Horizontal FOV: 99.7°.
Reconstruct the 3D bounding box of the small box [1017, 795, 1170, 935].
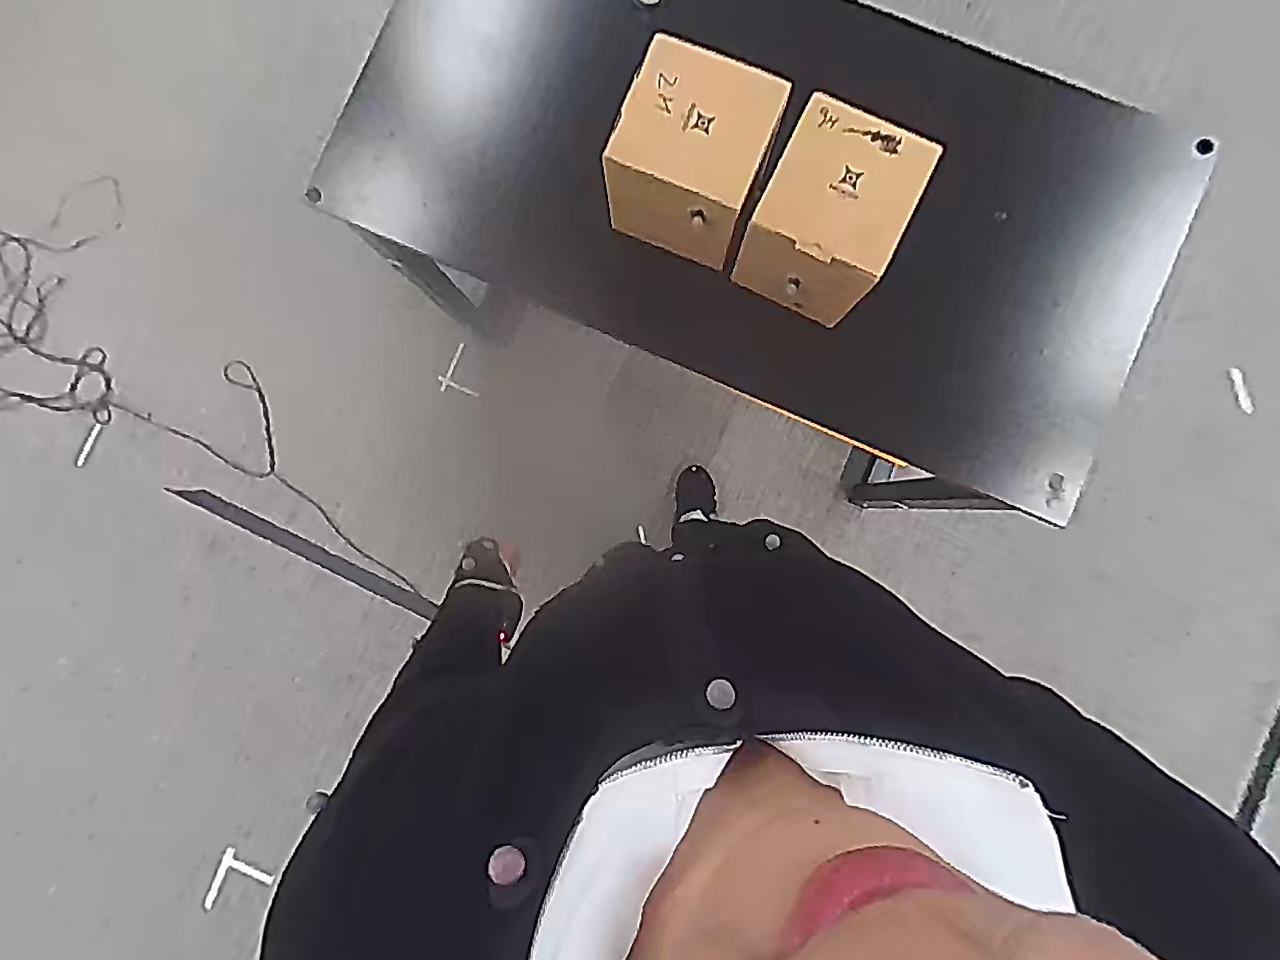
[{"bbox_3d":[0.986,0.834,1.192,0.179,0.176,0.168,18,87,4],"label":"small box"}]
